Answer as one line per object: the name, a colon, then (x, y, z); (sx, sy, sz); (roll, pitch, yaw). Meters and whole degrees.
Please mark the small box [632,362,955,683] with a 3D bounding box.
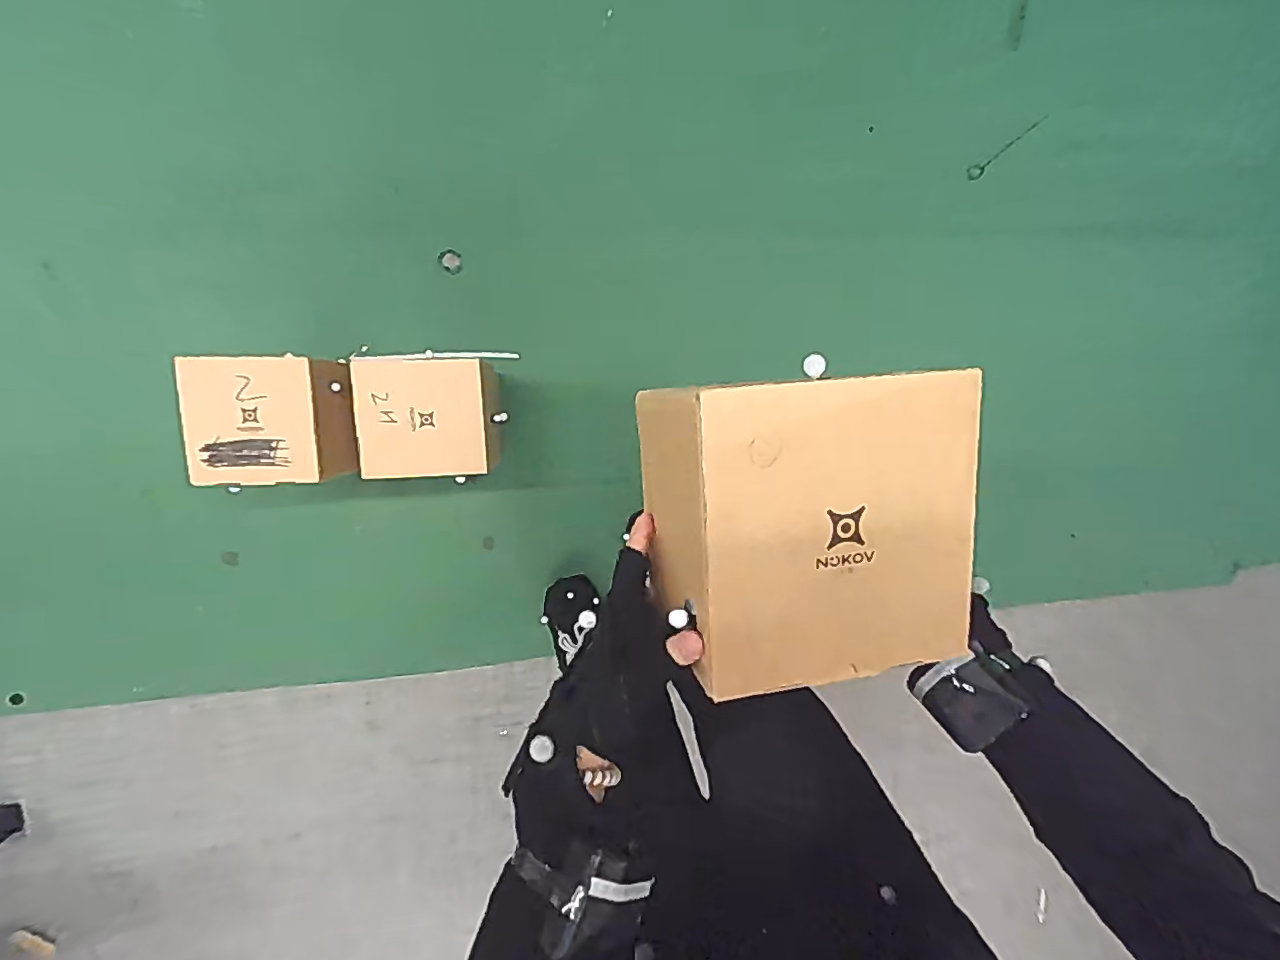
small box: (0.092, 0.012, 0.390); (0.168, 0.176, 0.179); (-7, 102, -10)
